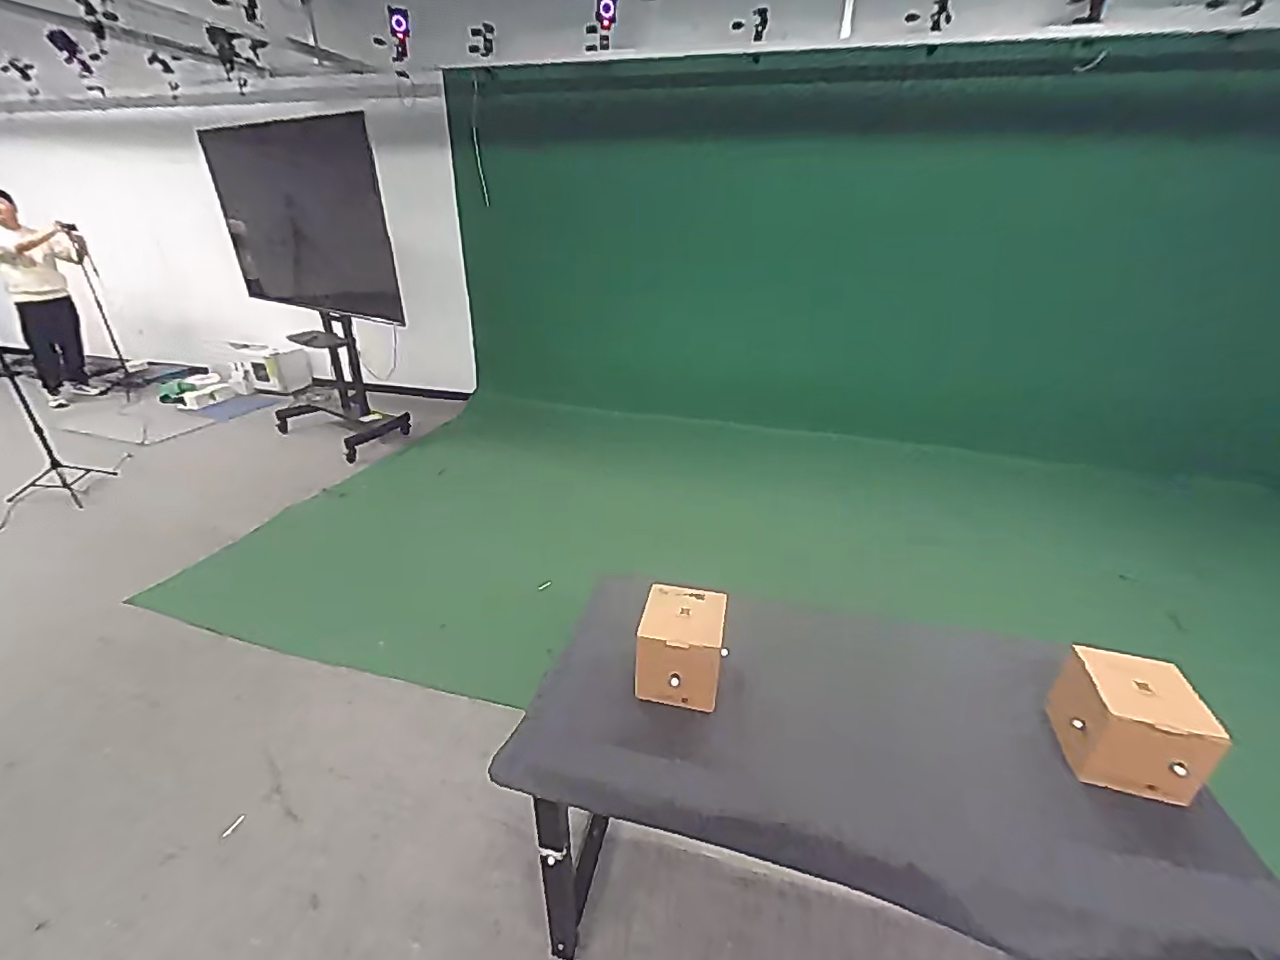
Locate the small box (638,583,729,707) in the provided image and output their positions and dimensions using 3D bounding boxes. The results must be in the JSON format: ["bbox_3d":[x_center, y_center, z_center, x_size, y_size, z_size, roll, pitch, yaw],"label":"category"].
[{"bbox_3d":[0.094,0.345,1.138,0.168,0.176,0.179,7,27,11],"label":"small box"}]

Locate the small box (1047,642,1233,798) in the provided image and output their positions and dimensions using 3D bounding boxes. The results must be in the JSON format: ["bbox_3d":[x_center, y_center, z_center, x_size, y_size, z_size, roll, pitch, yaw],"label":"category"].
[{"bbox_3d":[0.881,0.429,0.976,0.168,0.176,0.179,9,26,15],"label":"small box"}]
